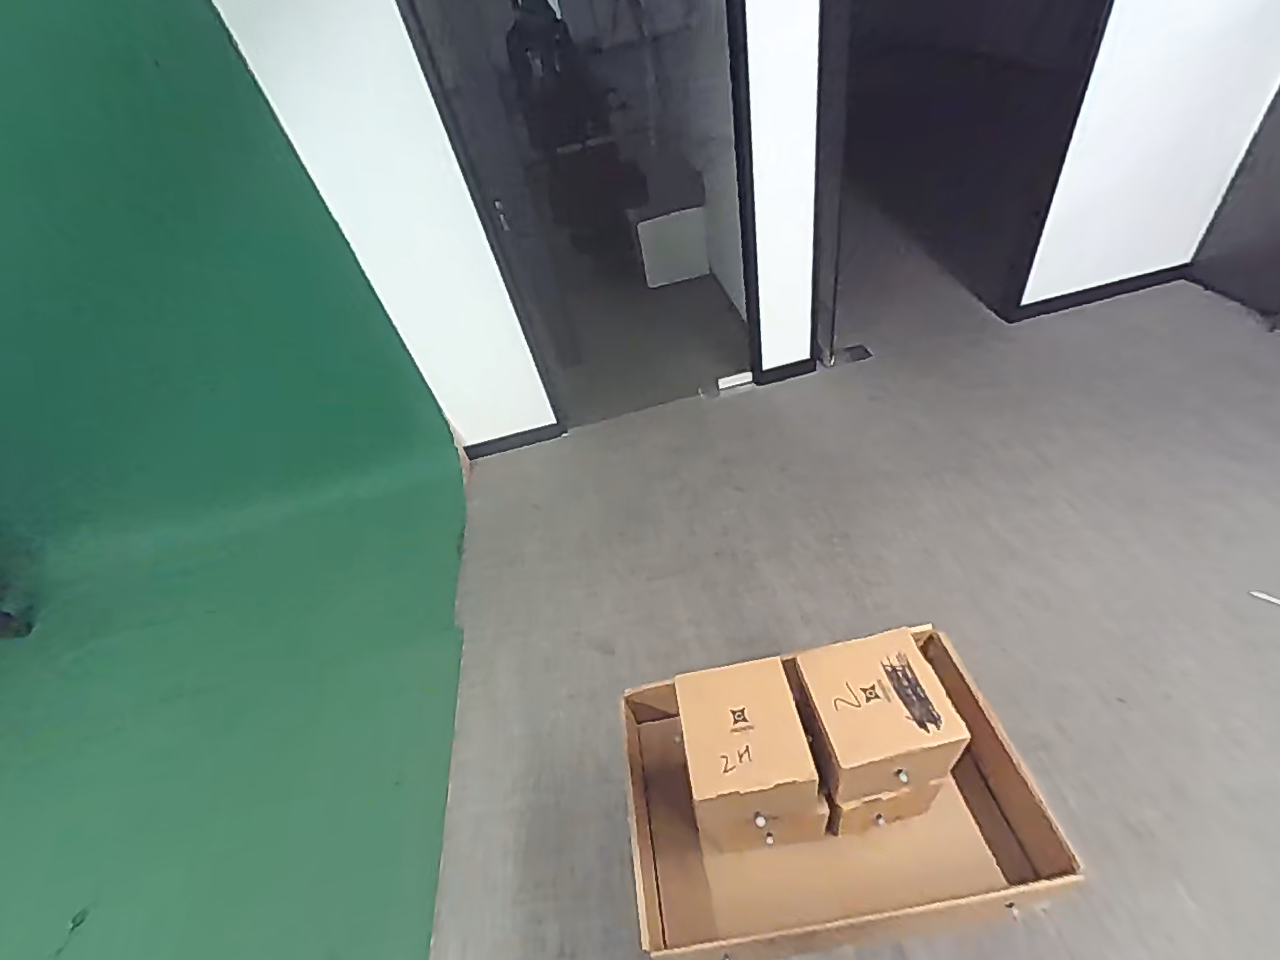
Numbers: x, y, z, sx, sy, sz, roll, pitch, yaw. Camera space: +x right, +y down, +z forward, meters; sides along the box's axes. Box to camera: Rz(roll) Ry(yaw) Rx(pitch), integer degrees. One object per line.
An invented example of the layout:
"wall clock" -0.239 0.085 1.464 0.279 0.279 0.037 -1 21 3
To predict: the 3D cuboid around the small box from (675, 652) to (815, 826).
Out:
"small box" 0.152 0.391 0.815 0.168 0.176 0.179 -12 43 3
